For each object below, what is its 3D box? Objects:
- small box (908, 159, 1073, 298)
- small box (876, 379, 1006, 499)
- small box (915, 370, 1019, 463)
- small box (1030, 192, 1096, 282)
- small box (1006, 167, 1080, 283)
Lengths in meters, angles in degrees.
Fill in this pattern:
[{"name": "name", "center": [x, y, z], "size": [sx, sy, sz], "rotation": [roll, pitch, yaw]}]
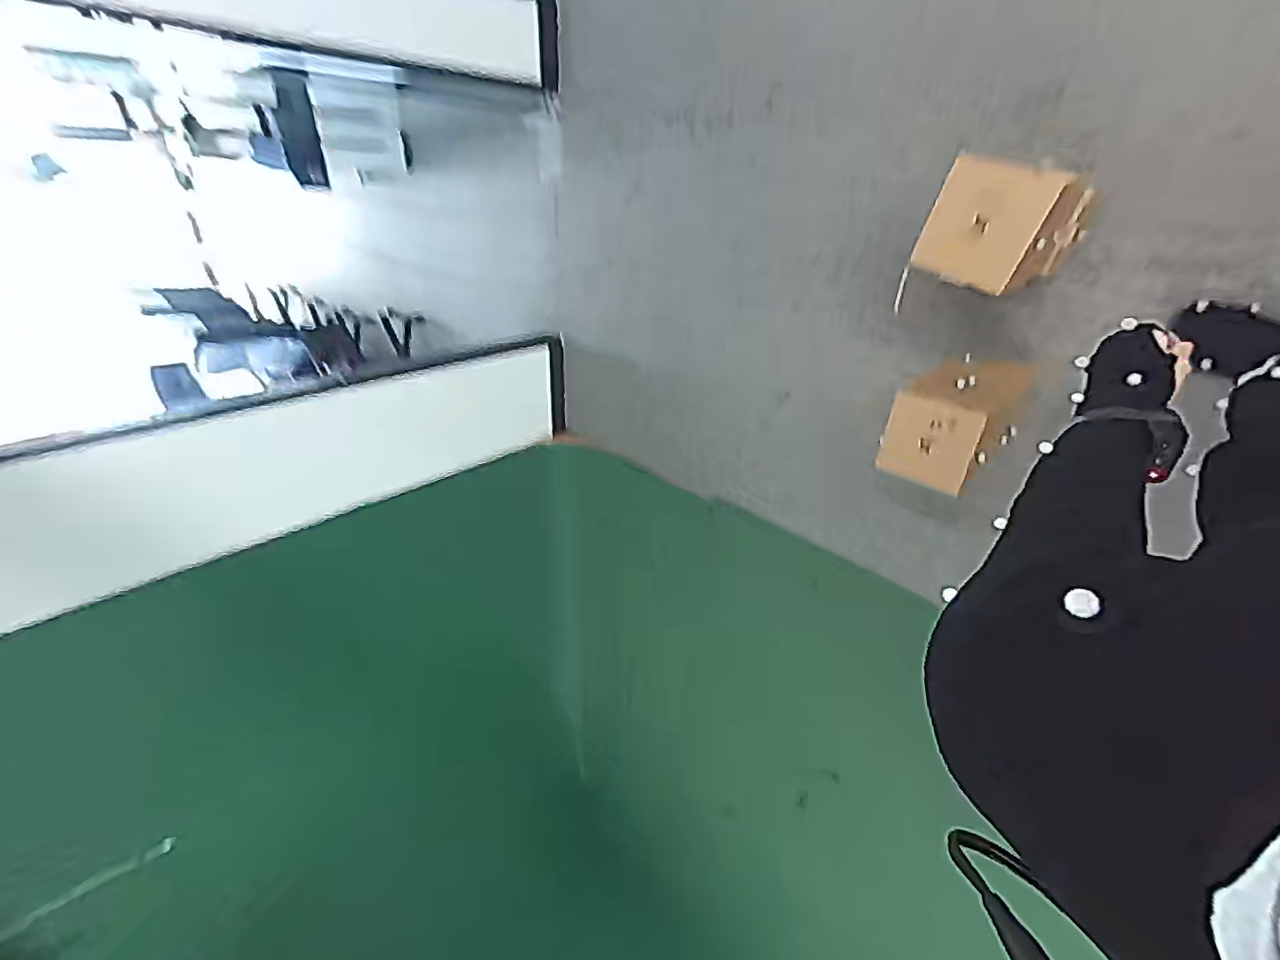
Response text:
[{"name": "small box", "center": [0.613, -0.440, 0.944], "size": [0.168, 0.176, 0.179], "rotation": [36, 131, 28]}, {"name": "small box", "center": [0.615, -0.091, 1.105], "size": [0.168, 0.176, 0.179], "rotation": [26, 125, 36]}, {"name": "small box", "center": [0.720, -0.141, 1.223], "size": [0.179, 0.176, 0.168], "rotation": [26, 126, 37]}, {"name": "small box", "center": [0.834, -0.540, 1.161], "size": [0.179, 0.176, 0.168], "rotation": [34, 129, 30]}, {"name": "small box", "center": [0.717, -0.499, 1.054], "size": [0.168, 0.176, 0.179], "rotation": [33, 130, 32]}]
